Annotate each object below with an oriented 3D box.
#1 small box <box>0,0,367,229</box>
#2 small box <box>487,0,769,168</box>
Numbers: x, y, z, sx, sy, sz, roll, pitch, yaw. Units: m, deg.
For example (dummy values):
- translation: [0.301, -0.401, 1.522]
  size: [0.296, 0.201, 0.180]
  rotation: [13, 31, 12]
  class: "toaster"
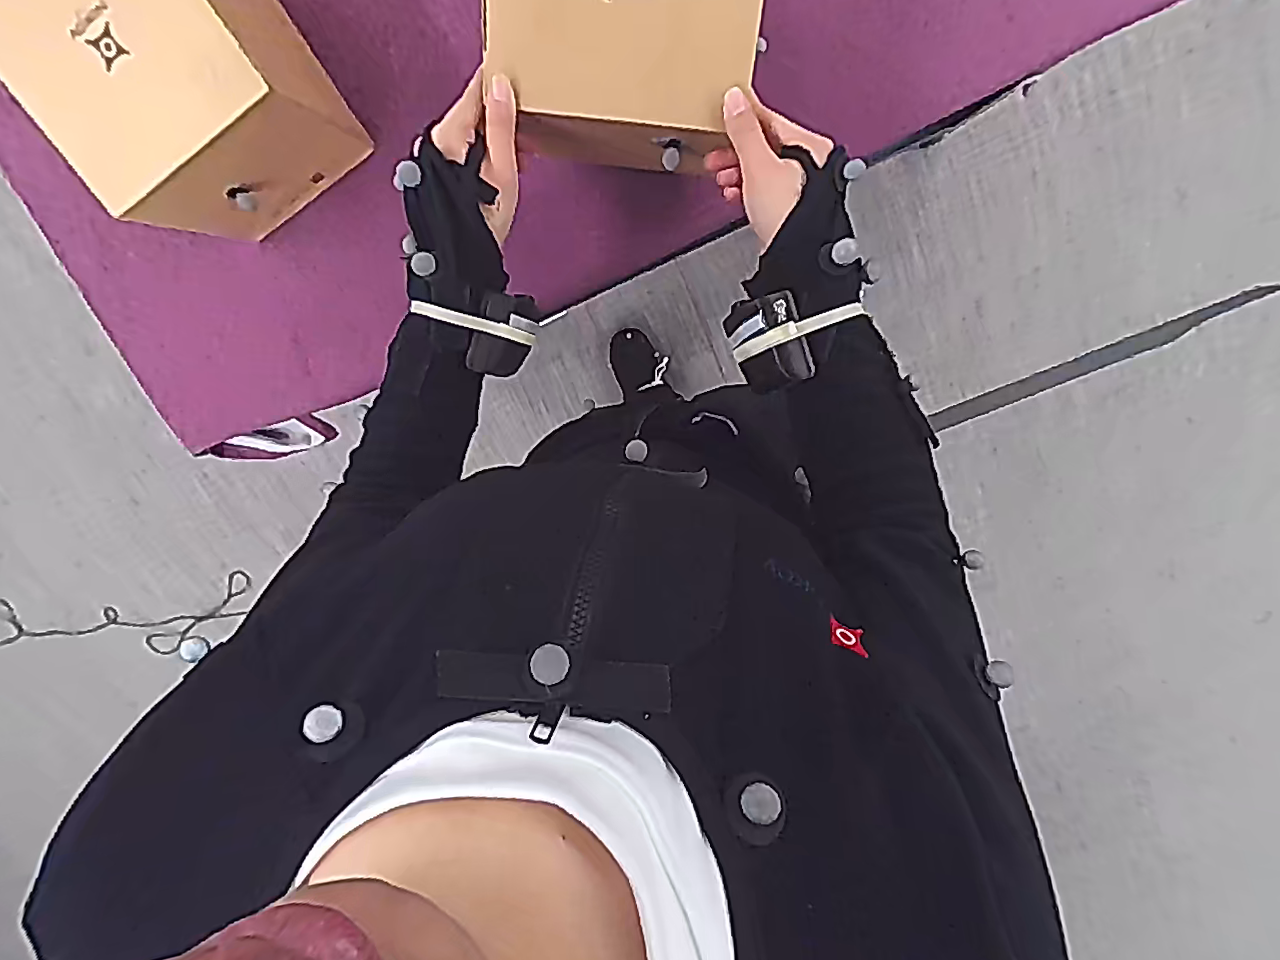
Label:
- translation: [-0.379, -0.338, 0.461]
  size: [0.168, 0.176, 0.179]
  rotation: [-31, 104, 10]
  class: "small box"
- translation: [-0.003, -0.344, 0.401]
  size: [0.179, 0.176, 0.168]
  rotation: [7, 111, 0]
  class: "small box"
